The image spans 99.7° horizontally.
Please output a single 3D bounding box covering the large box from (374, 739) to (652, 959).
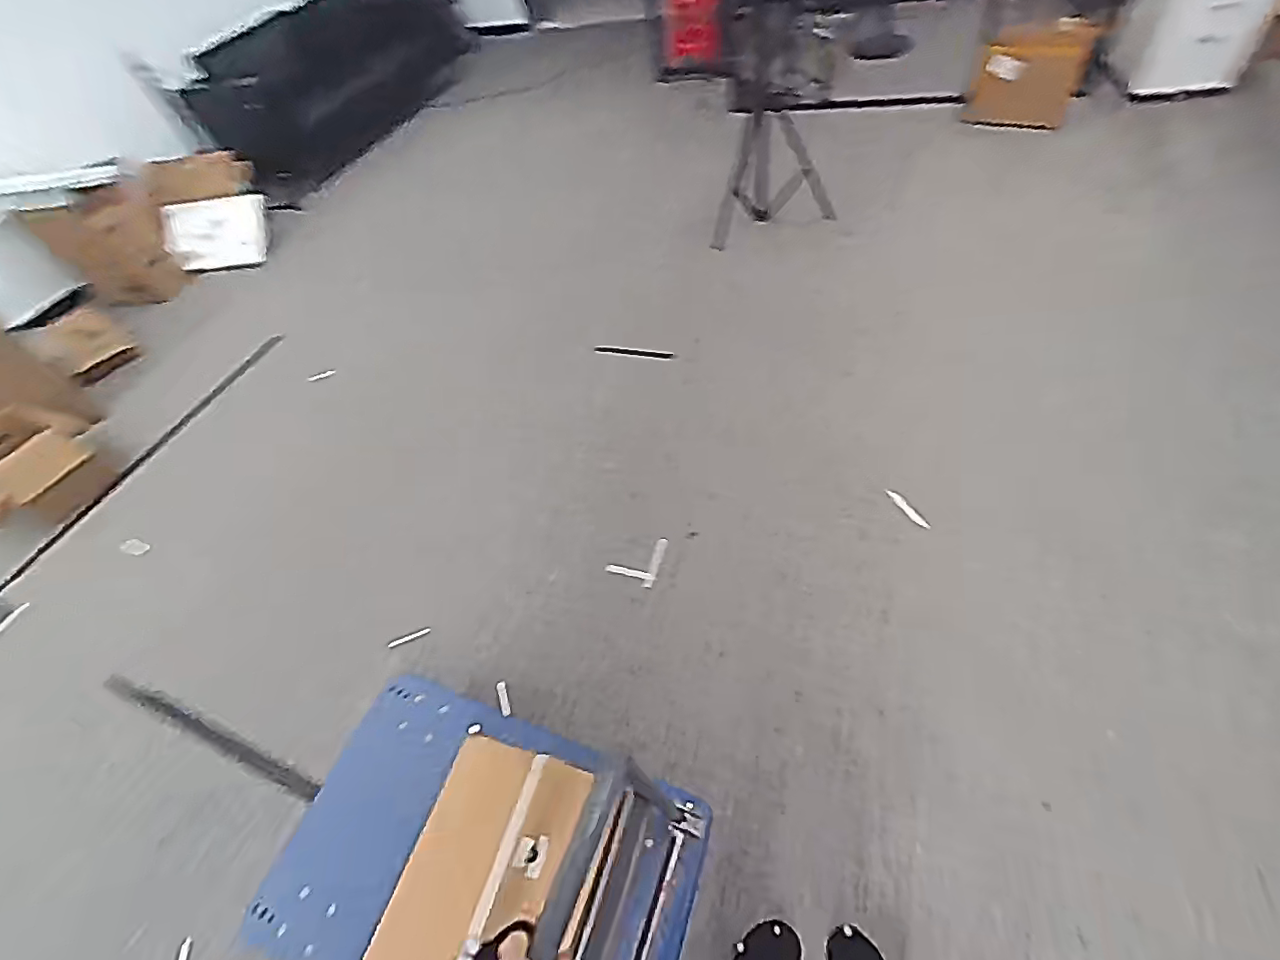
[{"bbox_3d":[-0.198,0.747,0.958,0.320,0.320,0.408,10,54,18],"label":"large box"}]
